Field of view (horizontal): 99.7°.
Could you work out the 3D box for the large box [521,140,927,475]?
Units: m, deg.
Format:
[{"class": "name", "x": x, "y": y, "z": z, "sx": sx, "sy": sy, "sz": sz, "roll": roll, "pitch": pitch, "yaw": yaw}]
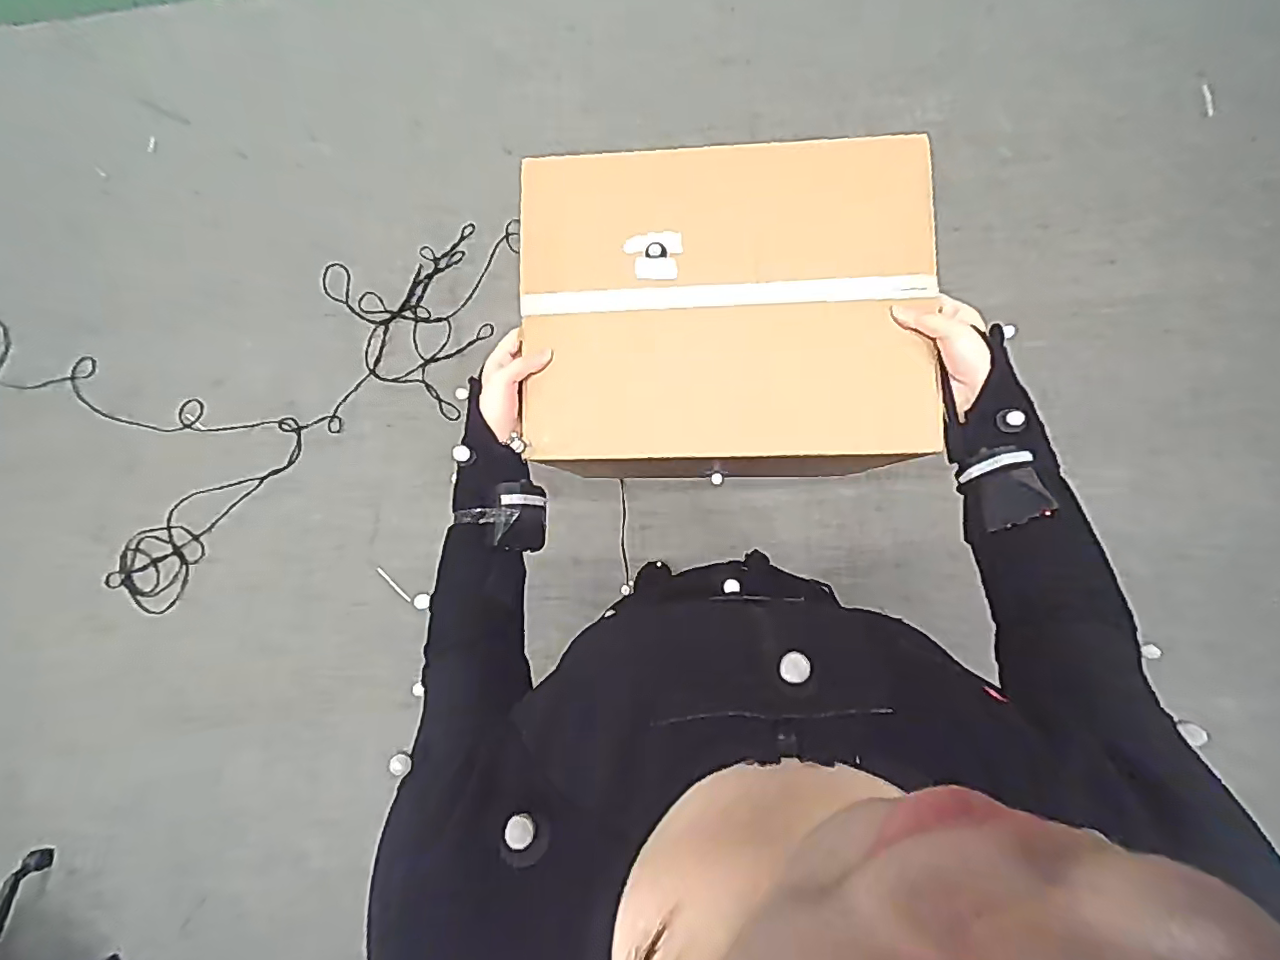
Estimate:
[{"class": "large box", "x": 0.092, "y": -0.171, "z": 0.693, "sx": 0.408, "sy": 0.320, "sz": 0.320, "roll": -1, "pitch": 86, "yaw": 6}]
